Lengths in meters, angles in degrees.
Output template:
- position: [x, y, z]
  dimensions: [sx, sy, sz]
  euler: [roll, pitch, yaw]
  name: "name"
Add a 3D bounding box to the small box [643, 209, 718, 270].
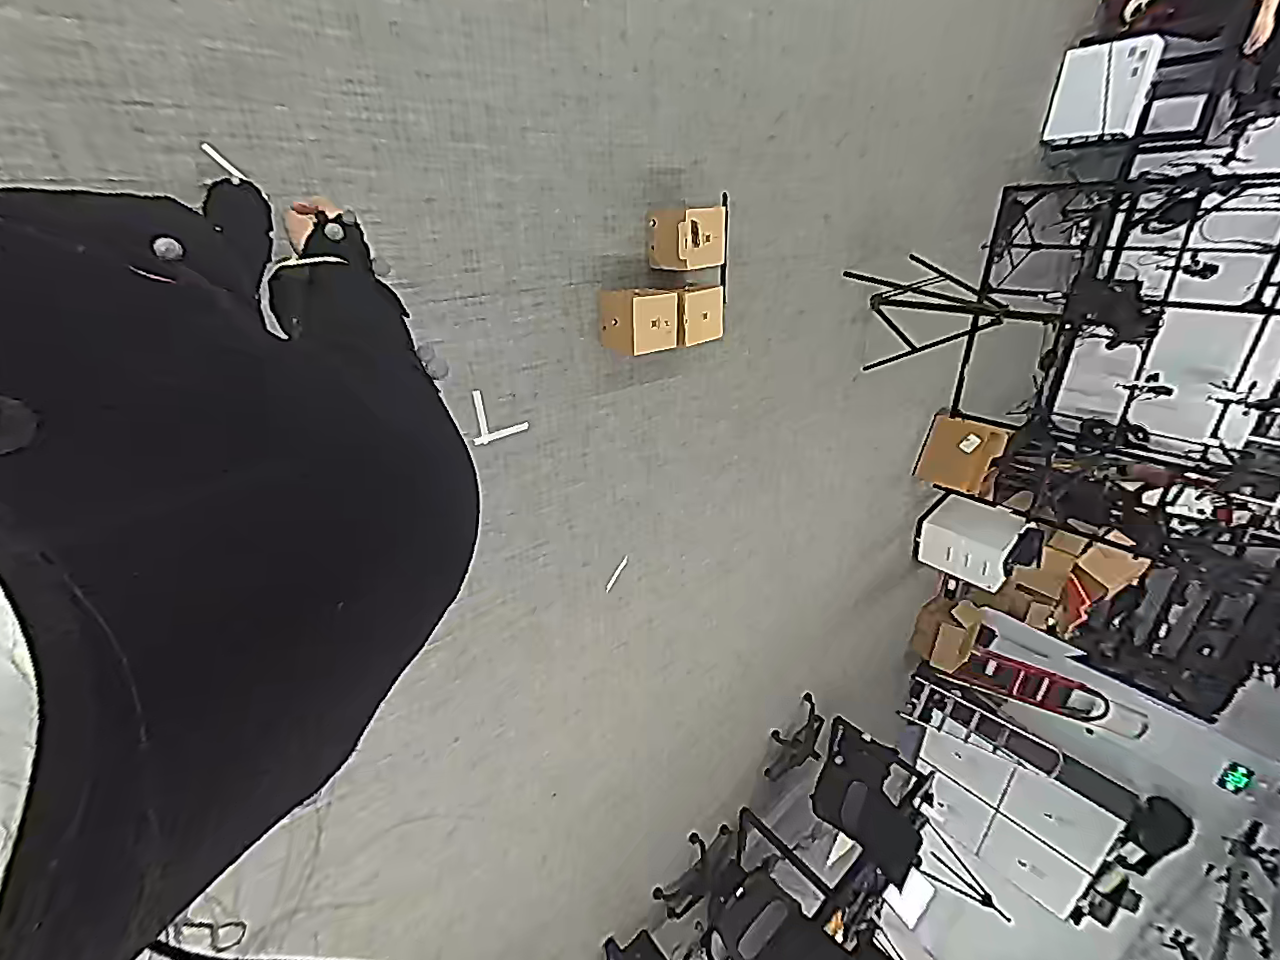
- position: [0.122, -0.750, 1.685]
  dimensions: [0.179, 0.176, 0.168]
  euler: [-24, 124, -35]
  name: "small box"
